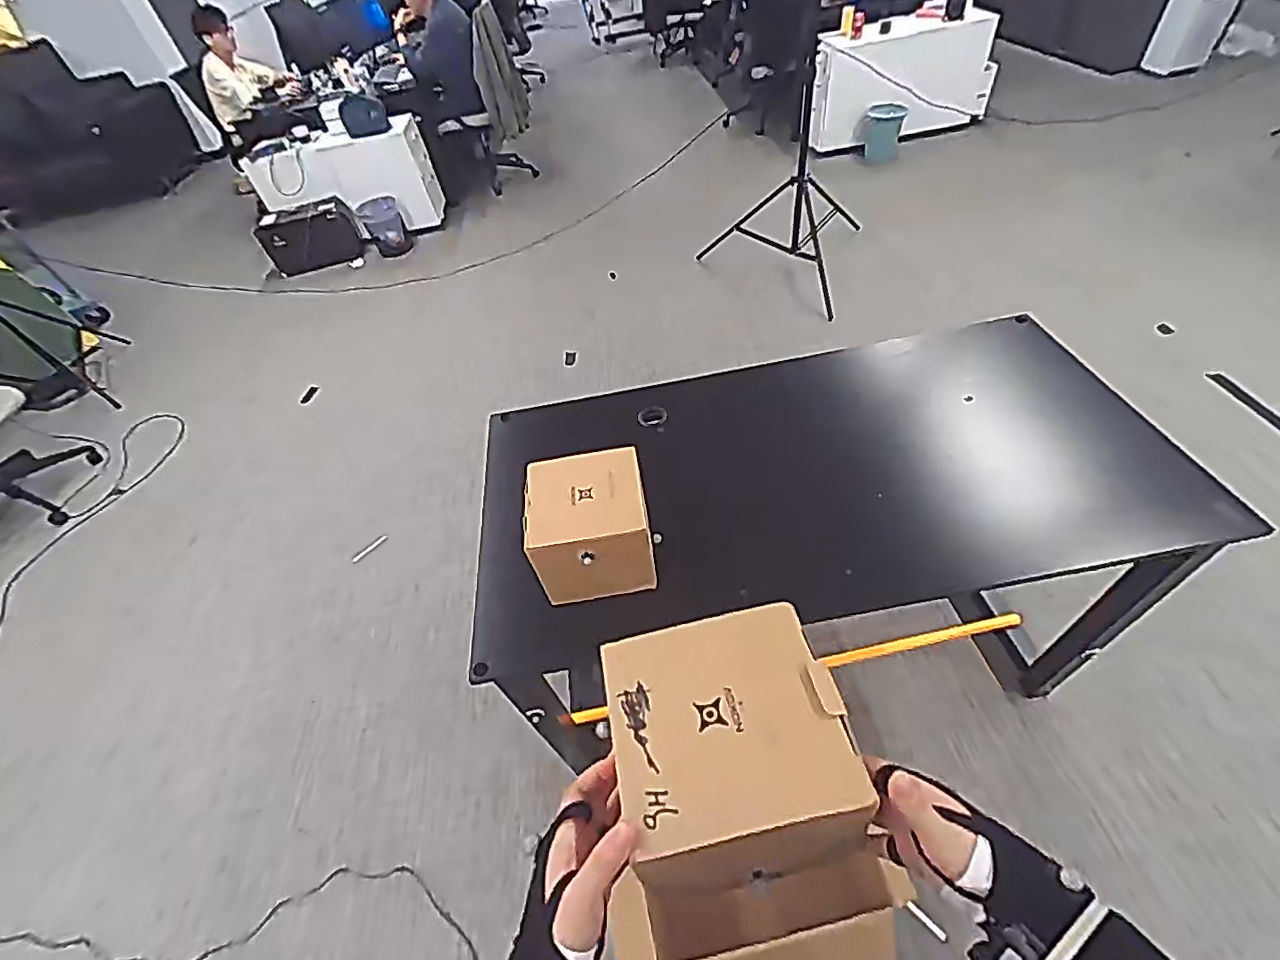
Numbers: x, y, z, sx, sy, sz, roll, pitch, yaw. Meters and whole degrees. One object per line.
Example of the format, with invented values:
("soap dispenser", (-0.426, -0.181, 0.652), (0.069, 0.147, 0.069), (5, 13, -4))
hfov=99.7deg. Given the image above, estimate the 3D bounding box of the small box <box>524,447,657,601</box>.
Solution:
("small box", (-0.075, 0.075, 0.857), (0.179, 0.176, 0.168), (-10, 49, 0))
